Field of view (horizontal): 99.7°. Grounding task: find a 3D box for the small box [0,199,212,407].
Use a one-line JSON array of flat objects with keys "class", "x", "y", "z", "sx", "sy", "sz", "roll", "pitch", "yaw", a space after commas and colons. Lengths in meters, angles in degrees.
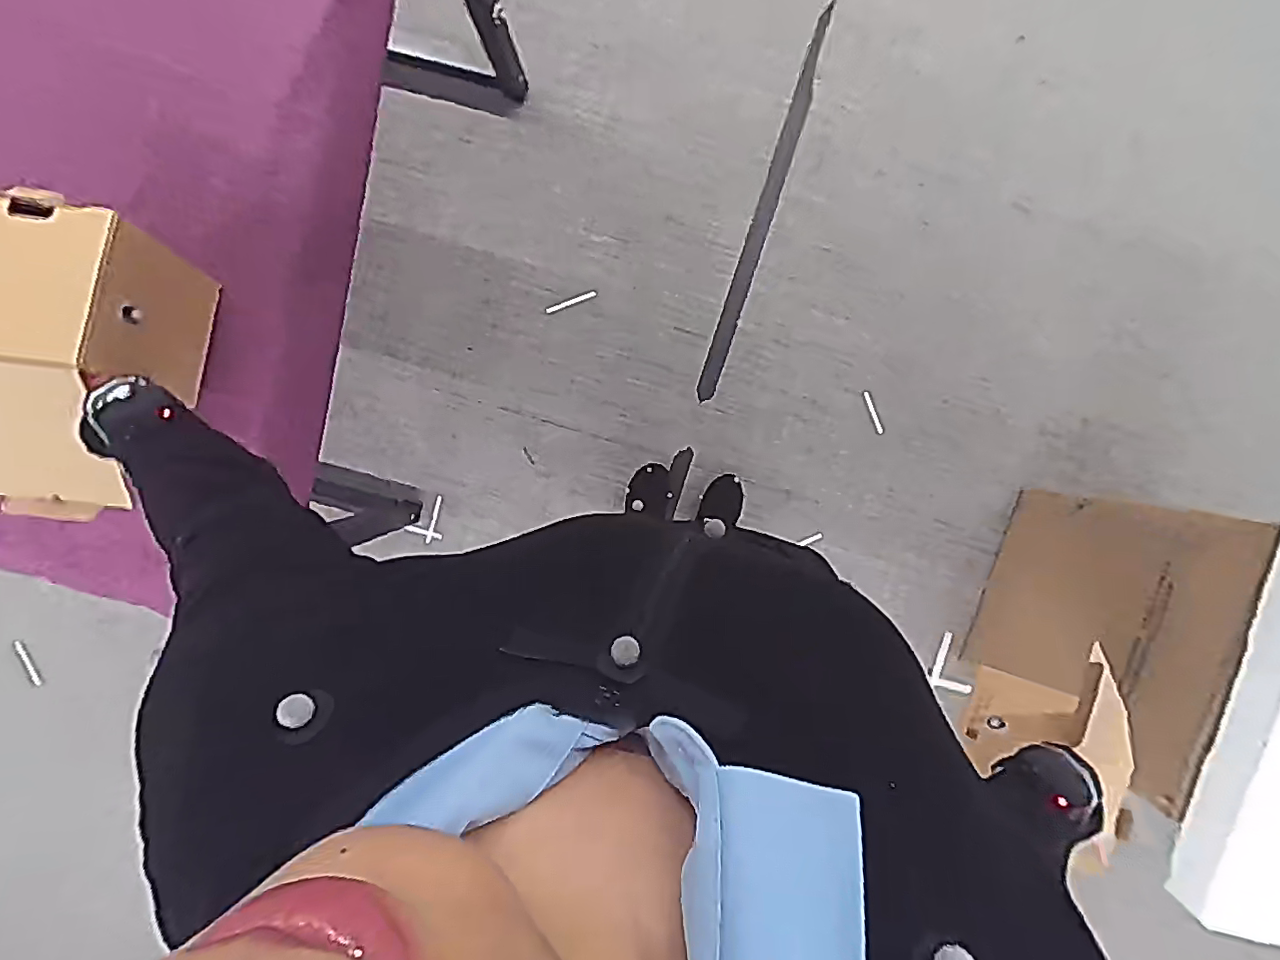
[{"class": "small box", "x": -0.645, "y": -0.192, "z": 0.625, "sx": 0.168, "sy": 0.176, "sz": 0.179, "roll": 7, "pitch": 83, "yaw": -4}]
